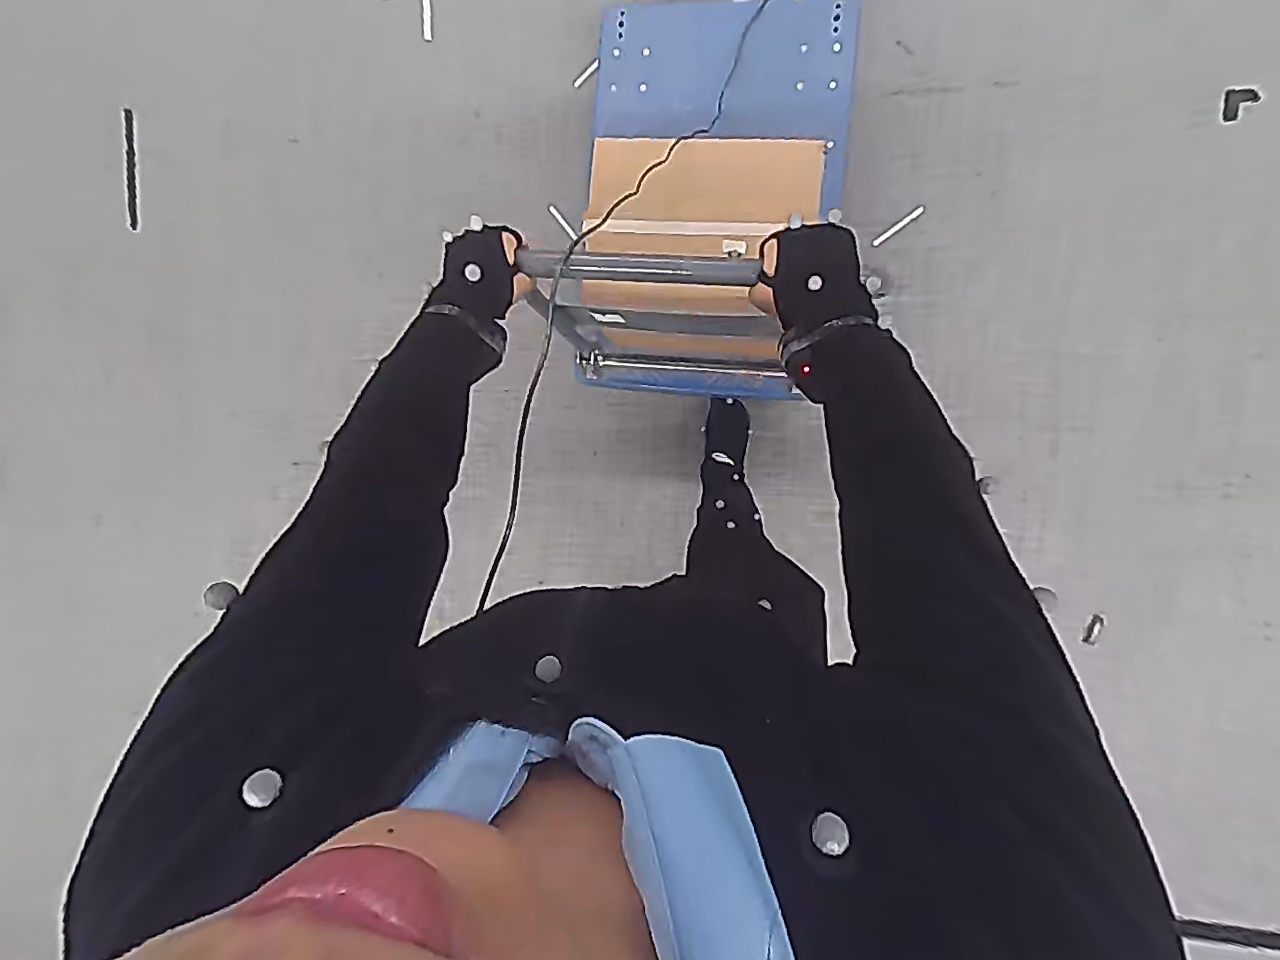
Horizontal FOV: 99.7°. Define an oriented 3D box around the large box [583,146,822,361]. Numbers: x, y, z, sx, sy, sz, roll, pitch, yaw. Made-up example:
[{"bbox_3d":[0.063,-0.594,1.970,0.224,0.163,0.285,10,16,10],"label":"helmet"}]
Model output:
[{"bbox_3d":[0.120,-0.433,1.098,0.408,0.320,0.320,6,93,7],"label":"large box"}]
